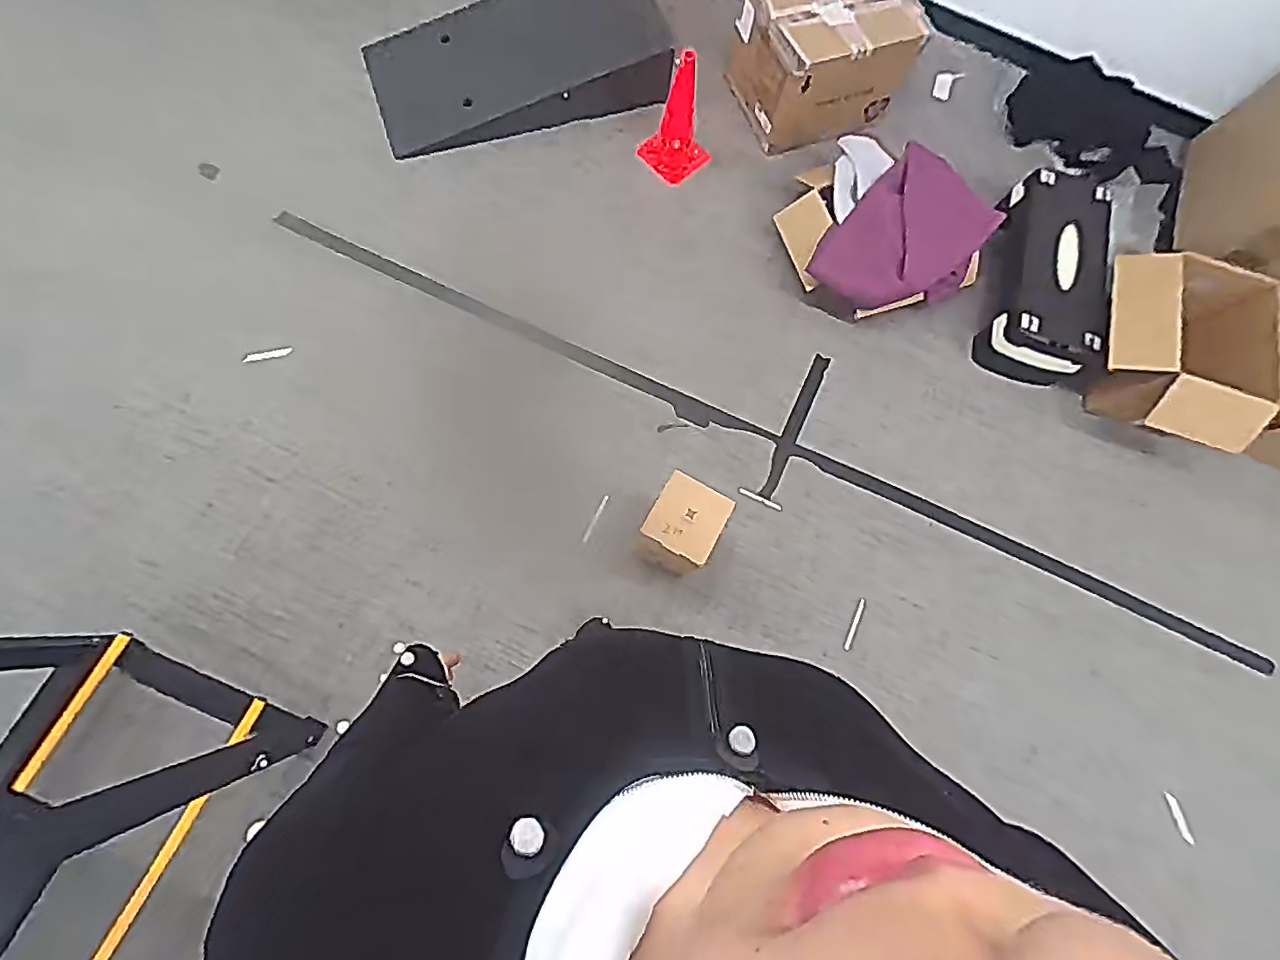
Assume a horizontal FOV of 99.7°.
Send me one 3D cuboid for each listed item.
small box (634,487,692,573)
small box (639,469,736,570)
[{"bbox_3d":[0.091,0.145,1.486,0.168,0.176,0.179,24,76,2],"label":"small box"},{"bbox_3d":[0.107,0.103,1.326,0.168,0.176,0.179,30,76,4],"label":"small box"}]
